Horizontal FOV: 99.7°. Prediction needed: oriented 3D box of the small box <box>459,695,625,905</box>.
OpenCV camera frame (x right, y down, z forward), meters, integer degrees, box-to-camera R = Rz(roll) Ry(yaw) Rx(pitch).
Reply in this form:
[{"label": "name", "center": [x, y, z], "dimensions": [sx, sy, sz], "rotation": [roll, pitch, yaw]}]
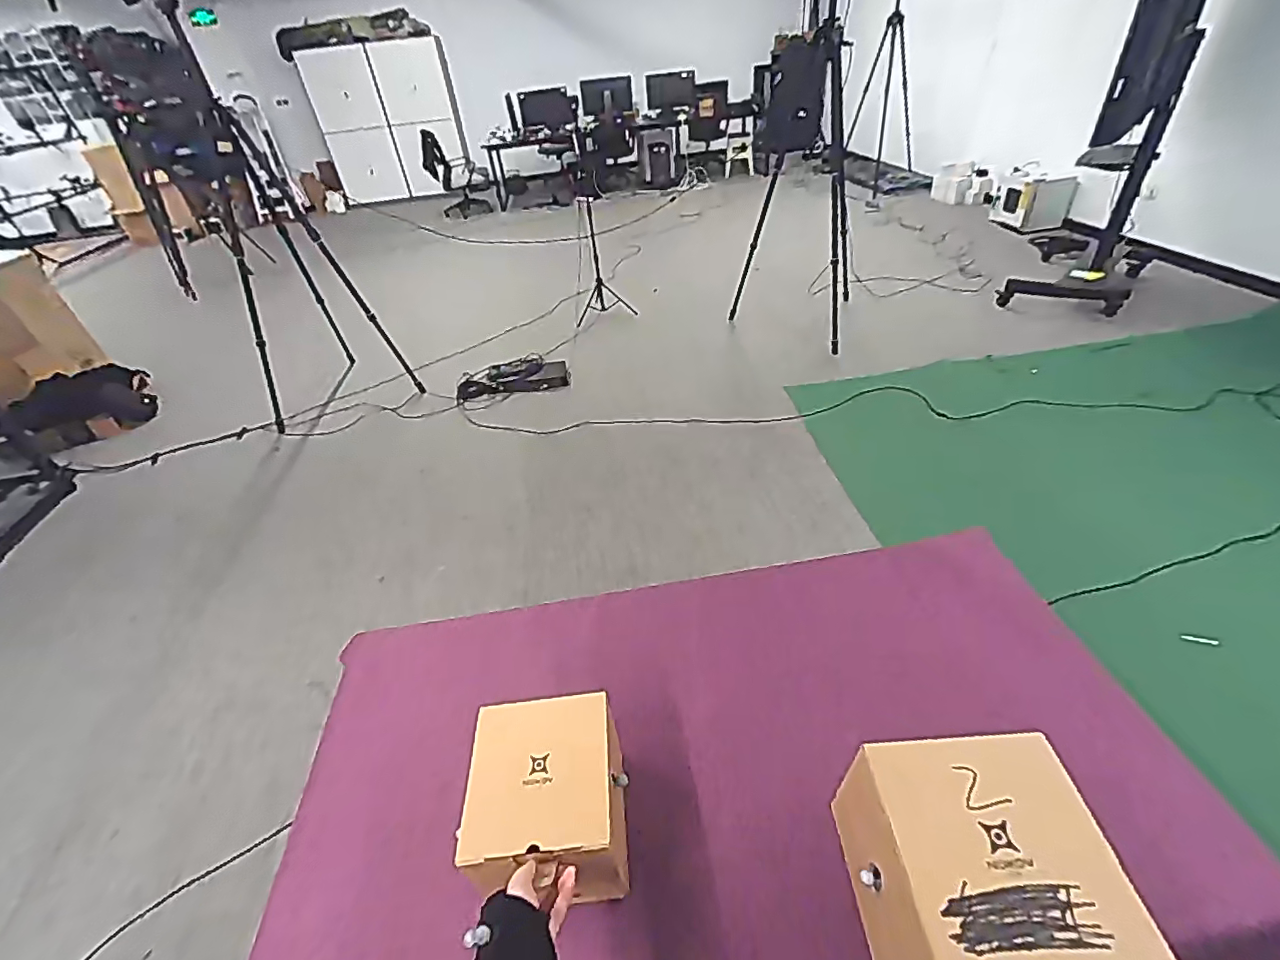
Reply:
[{"label": "small box", "center": [-0.112, 0.406, 0.691], "dimensions": [0.168, 0.176, 0.179], "rotation": [-7, 39, 0]}]
